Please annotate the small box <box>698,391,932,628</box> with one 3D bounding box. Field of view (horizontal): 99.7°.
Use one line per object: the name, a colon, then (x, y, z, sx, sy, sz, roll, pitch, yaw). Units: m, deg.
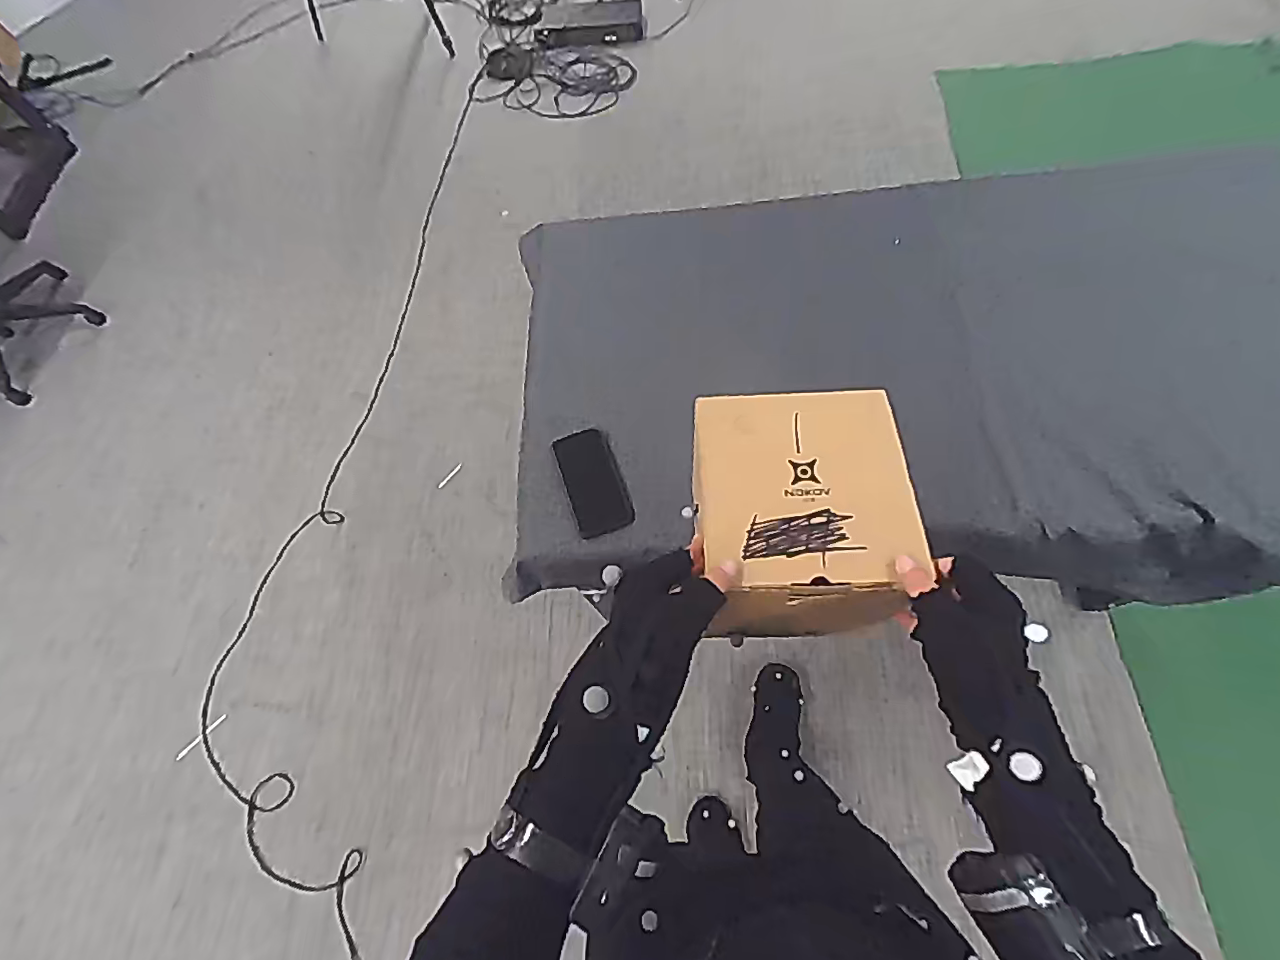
small box: (0.142, 0.038, 0.511, 0.168, 0.176, 0.179, -2, 61, 3)
